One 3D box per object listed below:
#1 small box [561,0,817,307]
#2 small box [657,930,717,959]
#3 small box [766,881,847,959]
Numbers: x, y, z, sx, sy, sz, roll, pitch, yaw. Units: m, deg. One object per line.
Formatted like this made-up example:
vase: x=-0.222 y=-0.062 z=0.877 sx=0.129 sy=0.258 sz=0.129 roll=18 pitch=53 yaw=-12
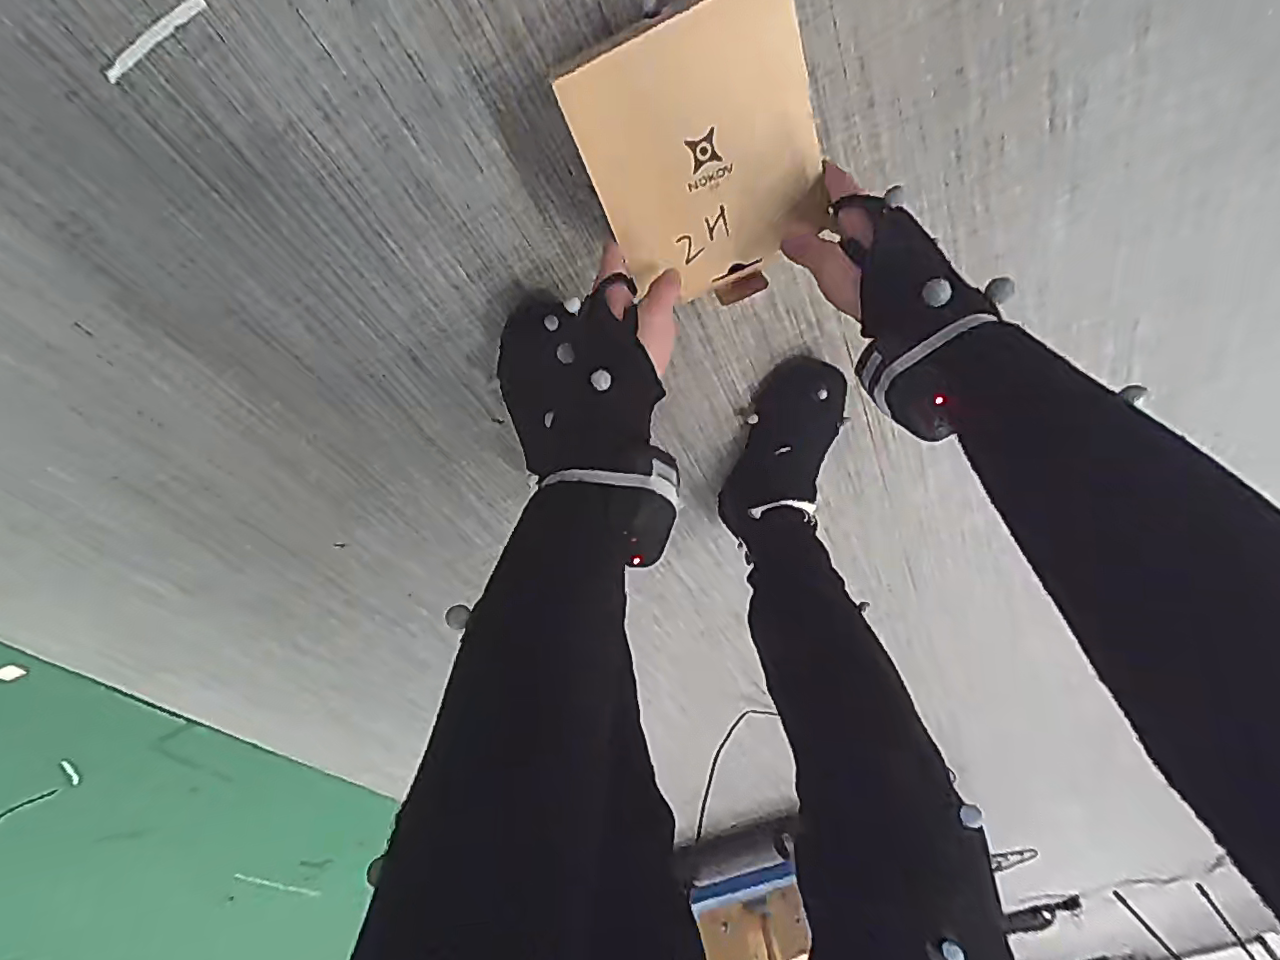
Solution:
small box: x=0.038 y=-0.280 z=0.458 sx=0.168 sy=0.176 sz=0.179 roll=-15 pitch=131 yaw=6
small box: x=0.179 y=1.735 z=1.921 sx=0.179 sy=0.176 sz=0.168 roll=-23 pitch=128 yaw=9
small box: x=0.510 y=1.370 z=1.672 sx=0.168 sy=0.176 sz=0.179 roll=-27 pitch=128 yaw=13
